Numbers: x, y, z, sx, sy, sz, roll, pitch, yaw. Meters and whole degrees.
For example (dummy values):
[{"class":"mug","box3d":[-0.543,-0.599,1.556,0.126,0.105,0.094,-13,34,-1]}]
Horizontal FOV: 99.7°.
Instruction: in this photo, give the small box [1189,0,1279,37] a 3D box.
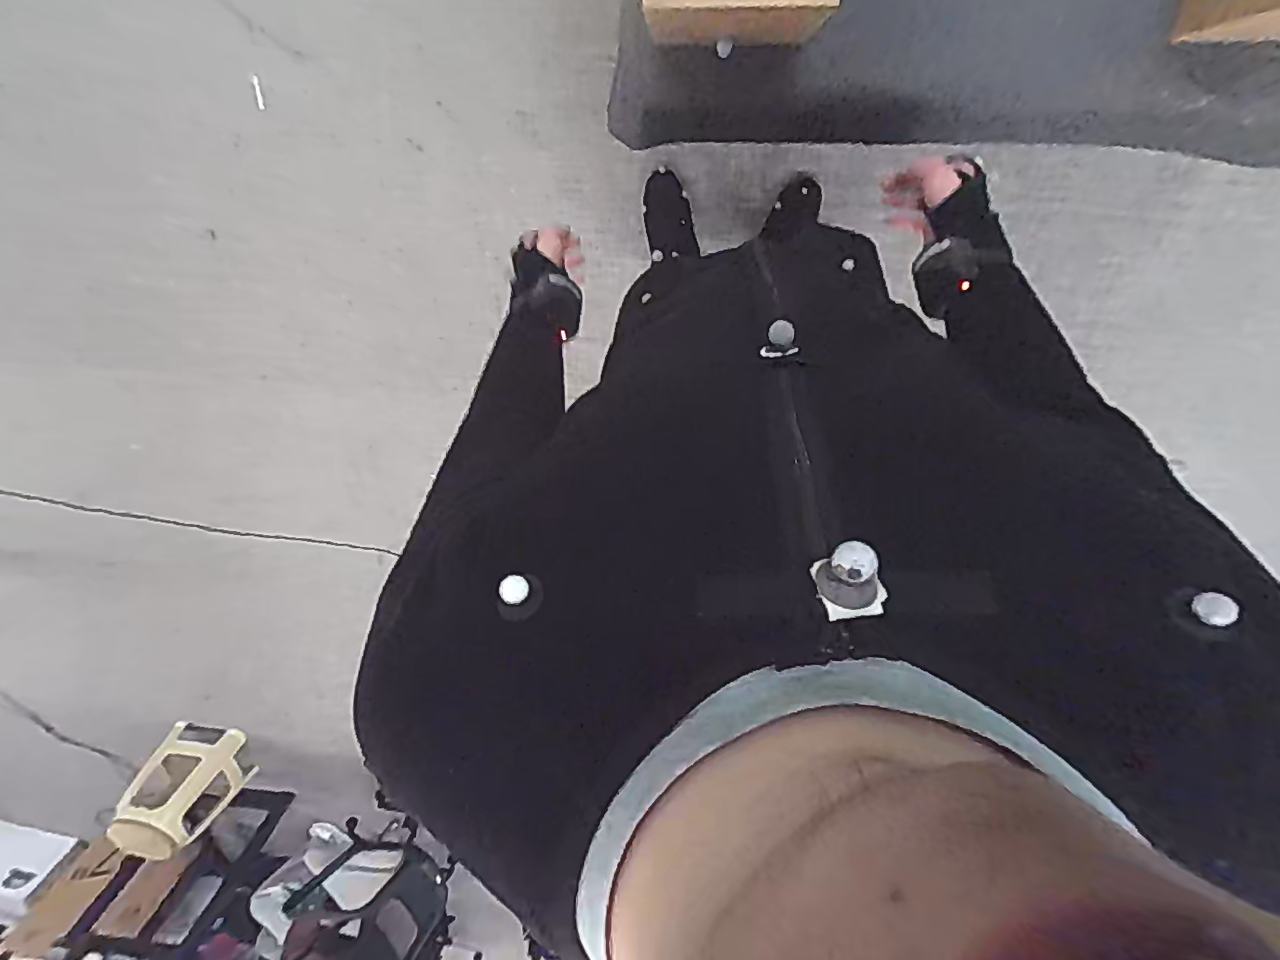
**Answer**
[{"class":"small box","box3d":[0.611,-0.473,0.427,0.168,0.176,0.179,3,119,3]}]

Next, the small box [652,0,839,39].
[{"class":"small box","box3d":[0.091,-0.506,0.461,0.168,0.176,0.179,3,121,4]}]
